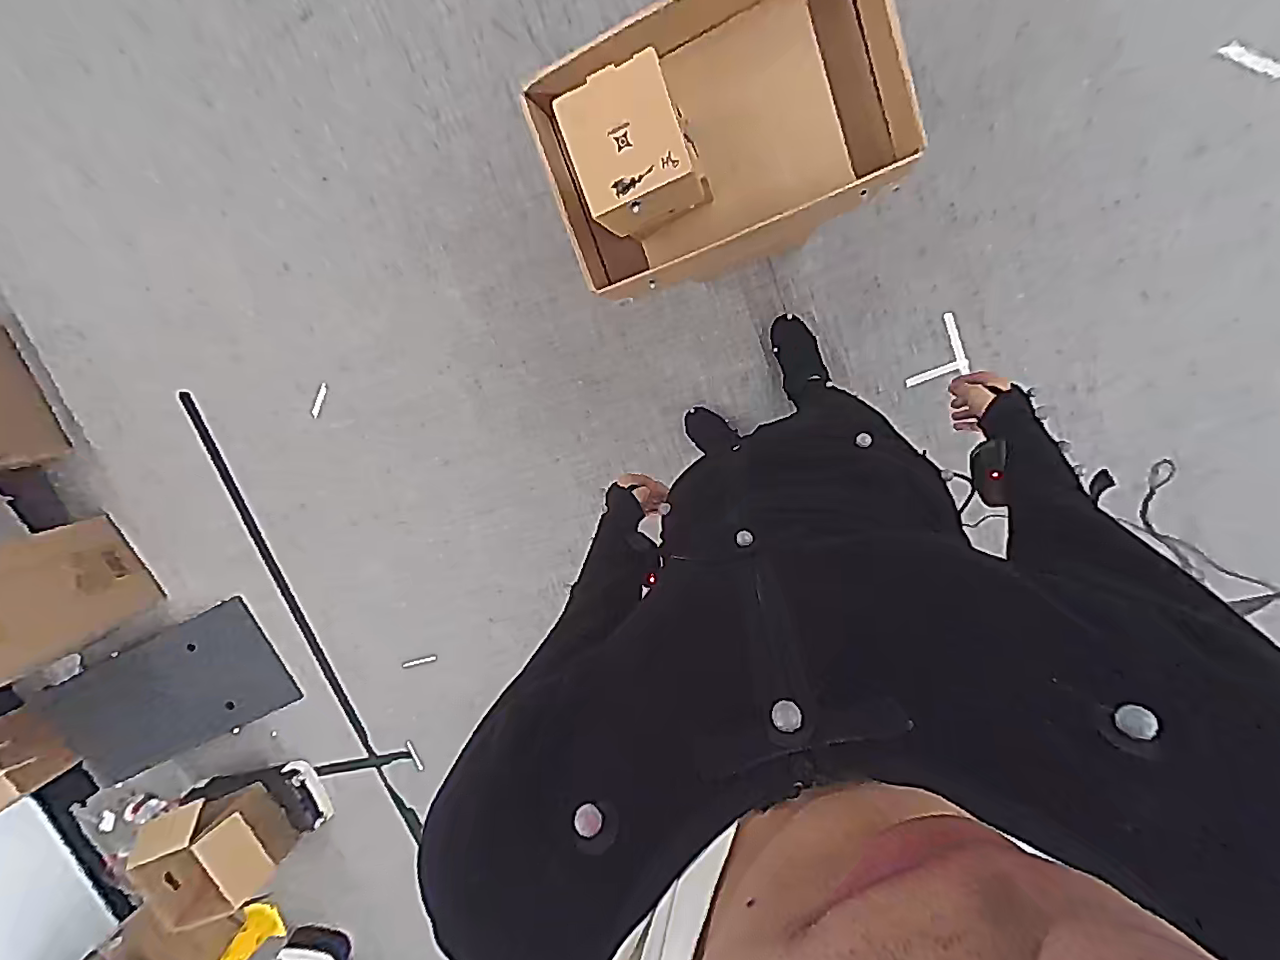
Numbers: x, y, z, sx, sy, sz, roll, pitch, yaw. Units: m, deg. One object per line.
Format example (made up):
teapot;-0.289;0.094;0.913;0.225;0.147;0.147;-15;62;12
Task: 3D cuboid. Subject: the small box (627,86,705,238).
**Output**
small box;0.015;-0.582;1.012;0.179;0.176;0.168;-23;98;17

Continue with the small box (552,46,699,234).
small box;-0.013;-0.523;0.862;0.168;0.176;0.179;-17;99;16
